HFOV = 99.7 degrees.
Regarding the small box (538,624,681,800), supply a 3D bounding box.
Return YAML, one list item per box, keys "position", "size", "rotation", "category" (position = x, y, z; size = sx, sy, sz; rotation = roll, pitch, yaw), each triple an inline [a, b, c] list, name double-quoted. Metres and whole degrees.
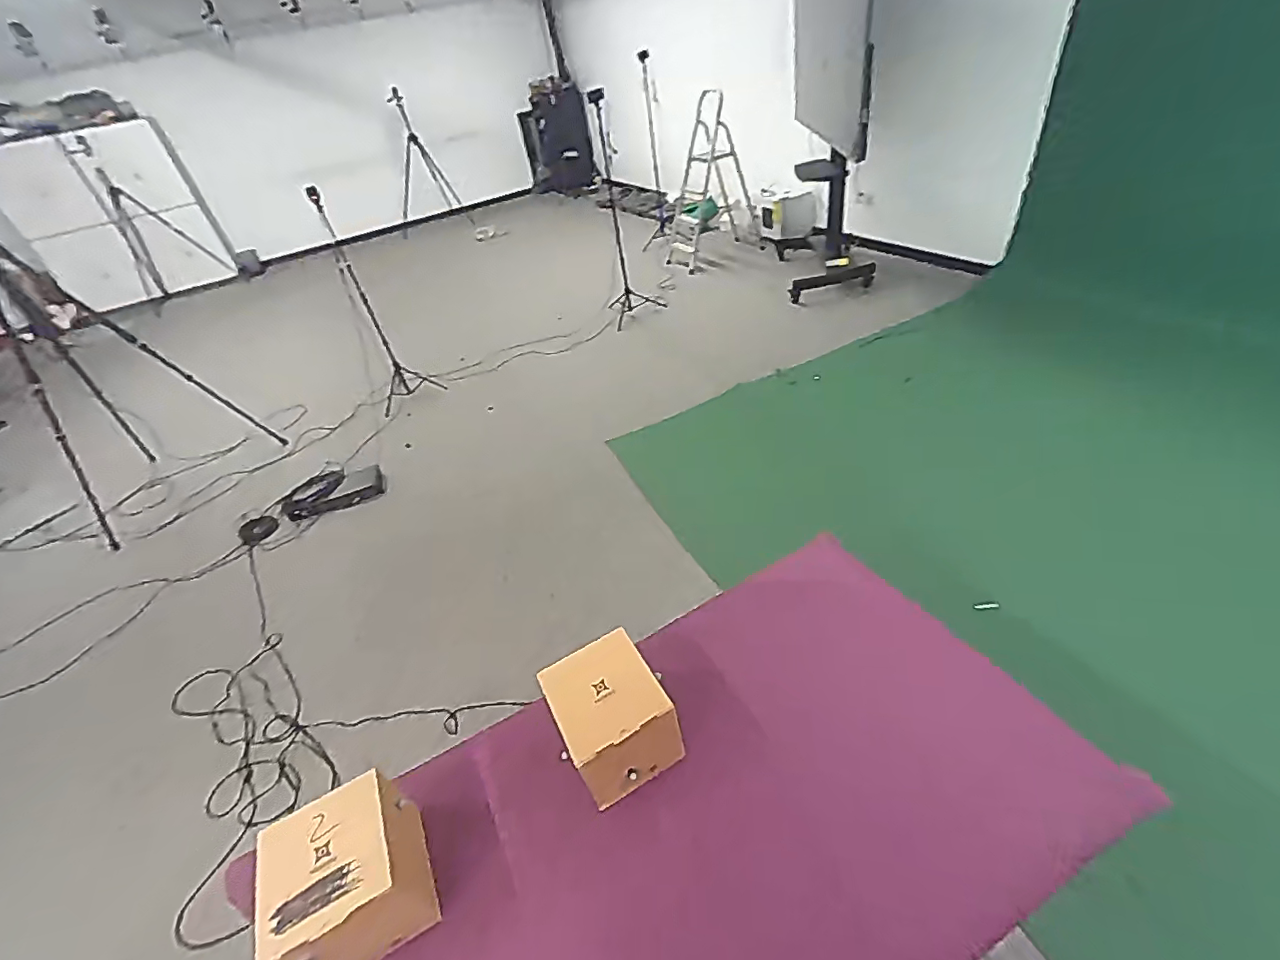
- position: [-0.048, 0.383, 0.896]
  size: [0.168, 0.176, 0.179]
  rotation: [-25, 42, -17]
  category: "small box"
